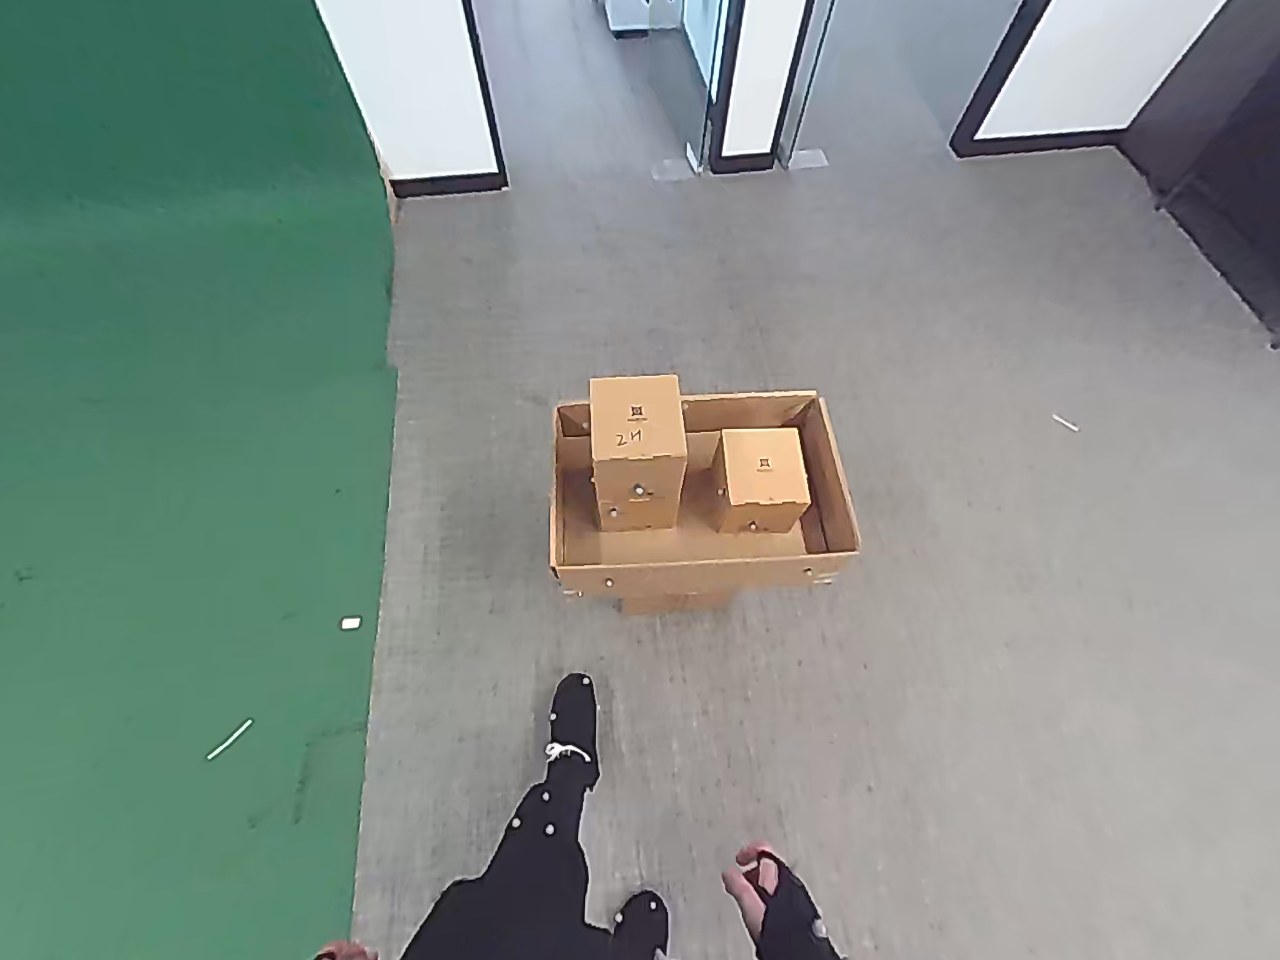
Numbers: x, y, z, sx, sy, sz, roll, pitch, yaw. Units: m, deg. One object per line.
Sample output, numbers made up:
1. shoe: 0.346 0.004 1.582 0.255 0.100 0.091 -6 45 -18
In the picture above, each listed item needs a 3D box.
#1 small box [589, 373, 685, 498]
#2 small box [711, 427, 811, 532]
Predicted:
1. small box: -0.011 -0.081 1.023 0.168 0.176 0.179 -3 63 -3
2. small box: 0.252 0.002 1.174 0.168 0.176 0.179 -2 64 -2
